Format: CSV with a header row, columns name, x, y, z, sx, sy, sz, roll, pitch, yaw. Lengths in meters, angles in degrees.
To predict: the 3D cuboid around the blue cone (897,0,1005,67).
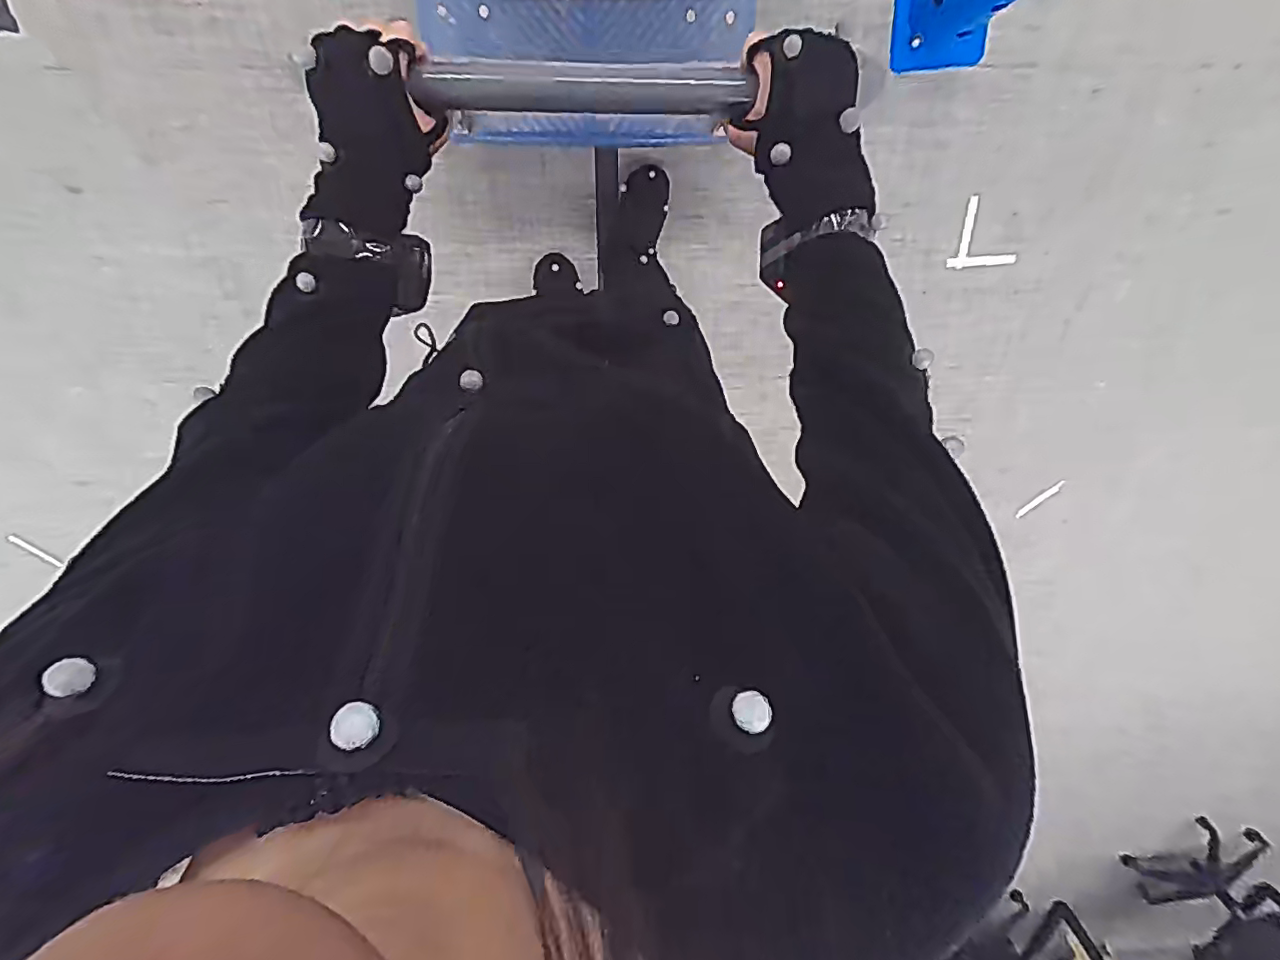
name,x,y,z,sx,sy,sz,roll,pitch,yaw
blue cone,0.628,-0.880,0.941,0.193,0.380,0.192,-6,117,-2
